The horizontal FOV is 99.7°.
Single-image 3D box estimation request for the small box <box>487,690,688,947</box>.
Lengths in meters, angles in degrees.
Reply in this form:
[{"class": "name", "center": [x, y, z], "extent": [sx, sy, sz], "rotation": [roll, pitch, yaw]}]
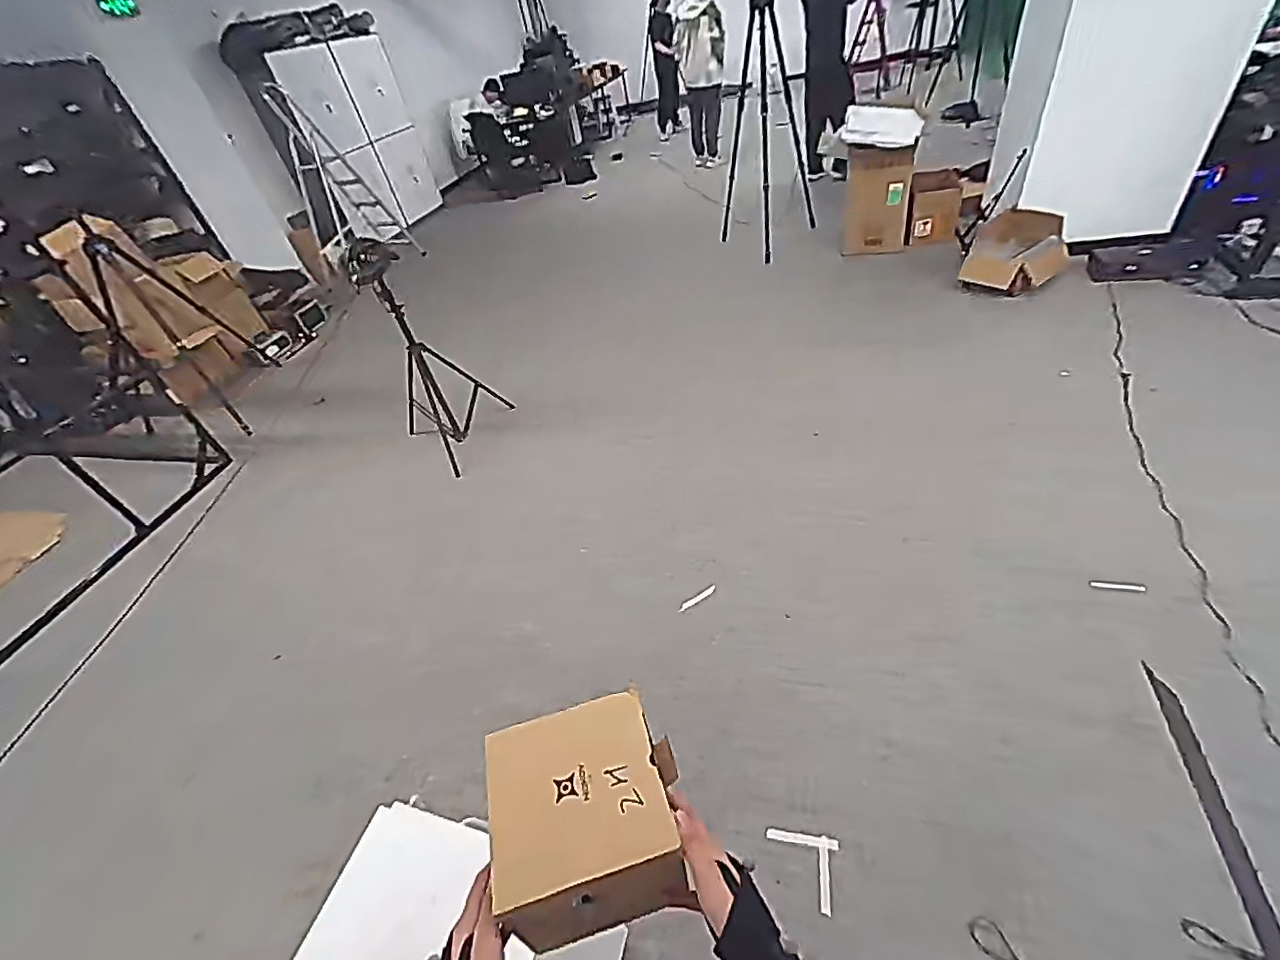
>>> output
[{"class": "small box", "center": [-0.055, 0.367, 0.589], "extent": [0.179, 0.176, 0.168], "rotation": [-14, 40, -8]}]
